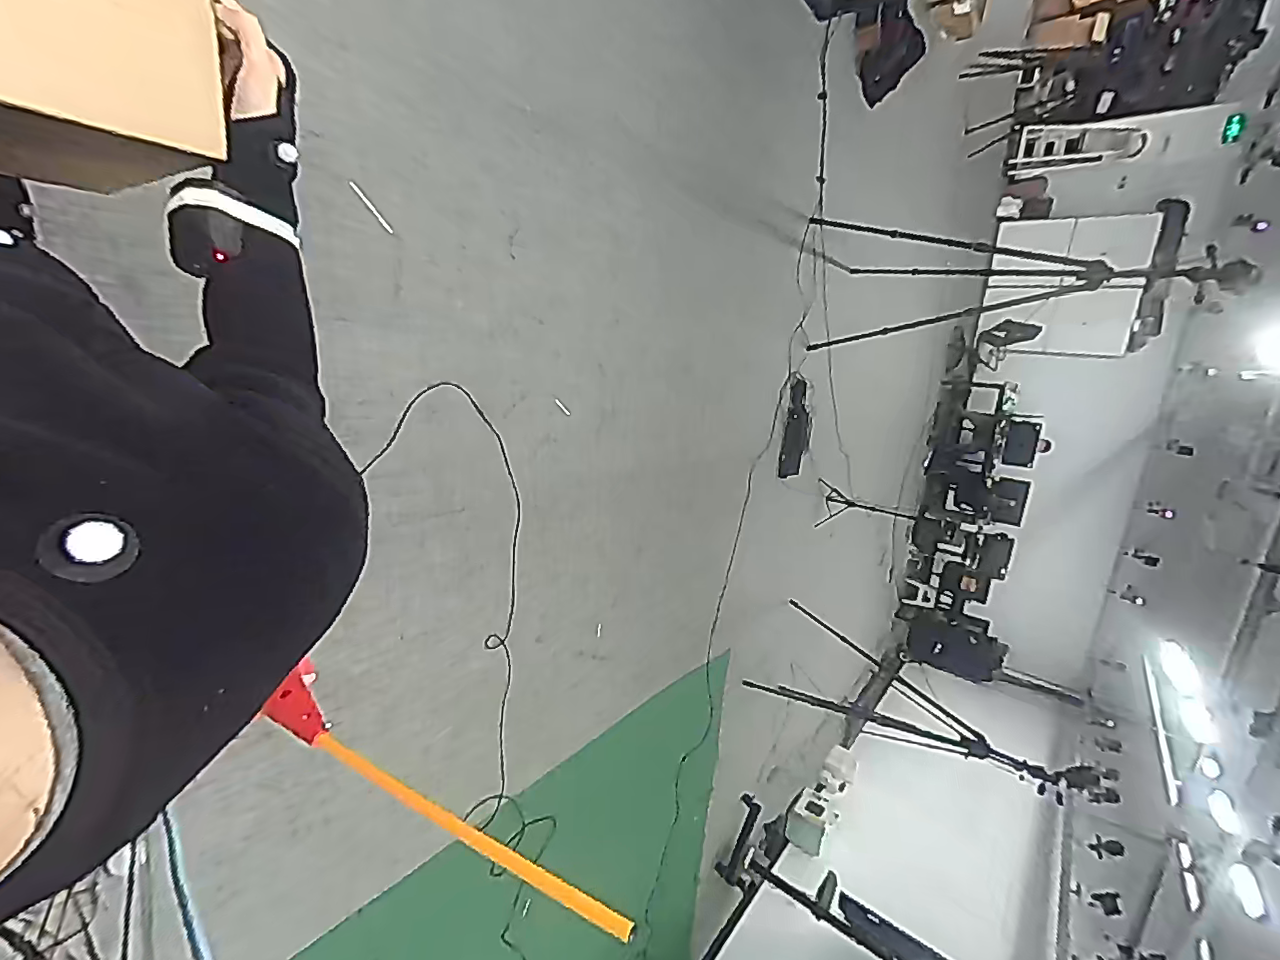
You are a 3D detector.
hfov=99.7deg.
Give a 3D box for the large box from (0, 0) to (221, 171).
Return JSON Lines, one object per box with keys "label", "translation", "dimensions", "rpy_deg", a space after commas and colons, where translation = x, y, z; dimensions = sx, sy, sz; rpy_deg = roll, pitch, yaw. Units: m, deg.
{"label": "large box", "translation": [-0.570, -0.417, 0.329], "dimensions": [0.408, 0.320, 0.320], "rpy_deg": [-17, 115, -54]}
